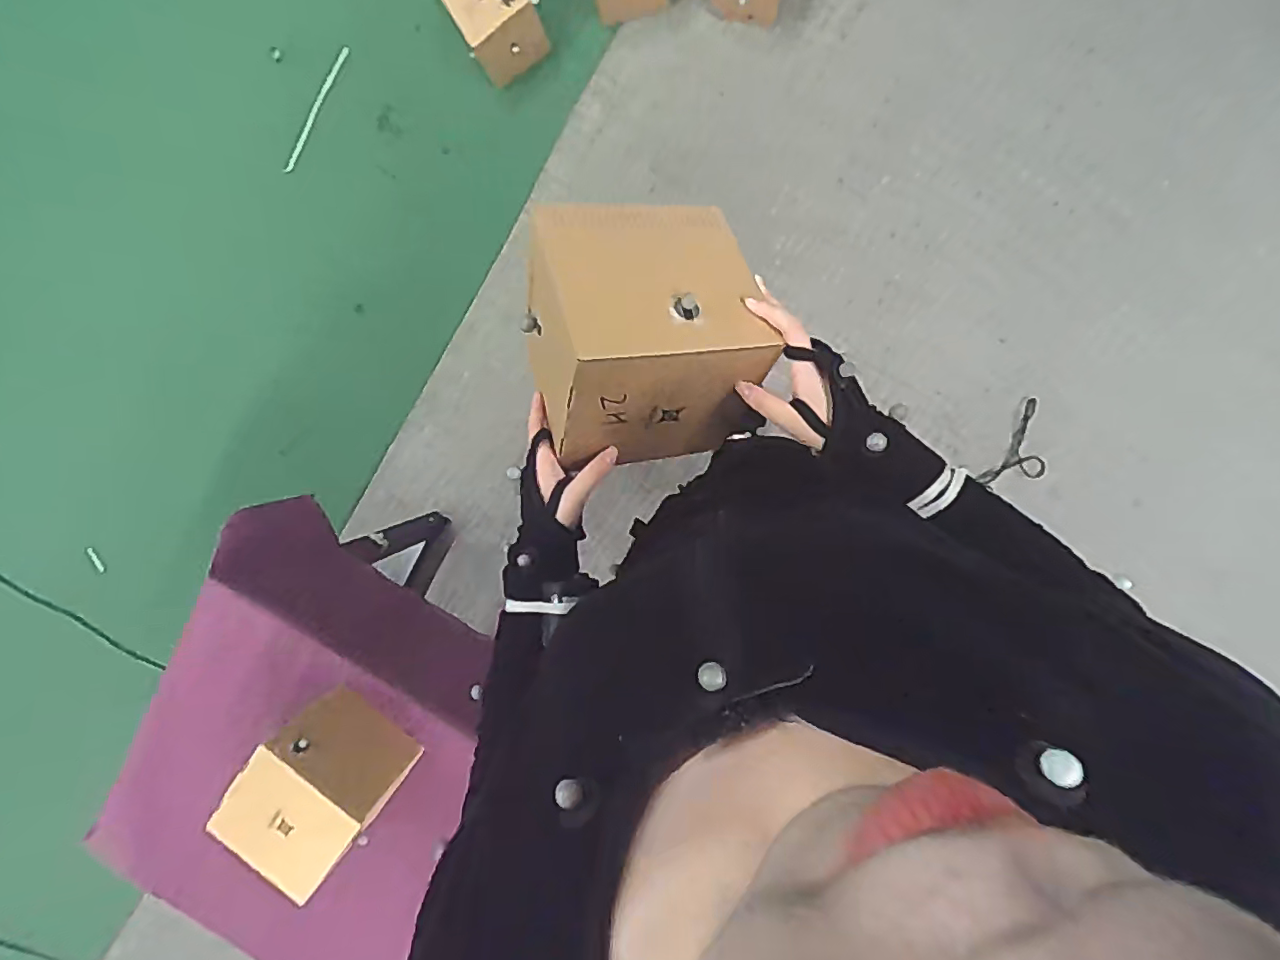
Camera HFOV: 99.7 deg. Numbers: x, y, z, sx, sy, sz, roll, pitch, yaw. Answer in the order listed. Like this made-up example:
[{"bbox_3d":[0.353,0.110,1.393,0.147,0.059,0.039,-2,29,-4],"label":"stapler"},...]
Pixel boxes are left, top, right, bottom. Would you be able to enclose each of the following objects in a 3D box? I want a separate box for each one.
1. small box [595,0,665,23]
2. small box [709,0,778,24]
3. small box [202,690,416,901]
[{"bbox_3d":[-0.039,-1.247,1.286,0.179,0.176,0.168,-11,95,7],"label":"small box"},{"bbox_3d":[0.256,-1.214,1.252,0.168,0.176,0.179,16,99,5],"label":"small box"},{"bbox_3d":[-0.474,0.451,0.802,0.179,0.176,0.168,37,100,2],"label":"small box"}]
